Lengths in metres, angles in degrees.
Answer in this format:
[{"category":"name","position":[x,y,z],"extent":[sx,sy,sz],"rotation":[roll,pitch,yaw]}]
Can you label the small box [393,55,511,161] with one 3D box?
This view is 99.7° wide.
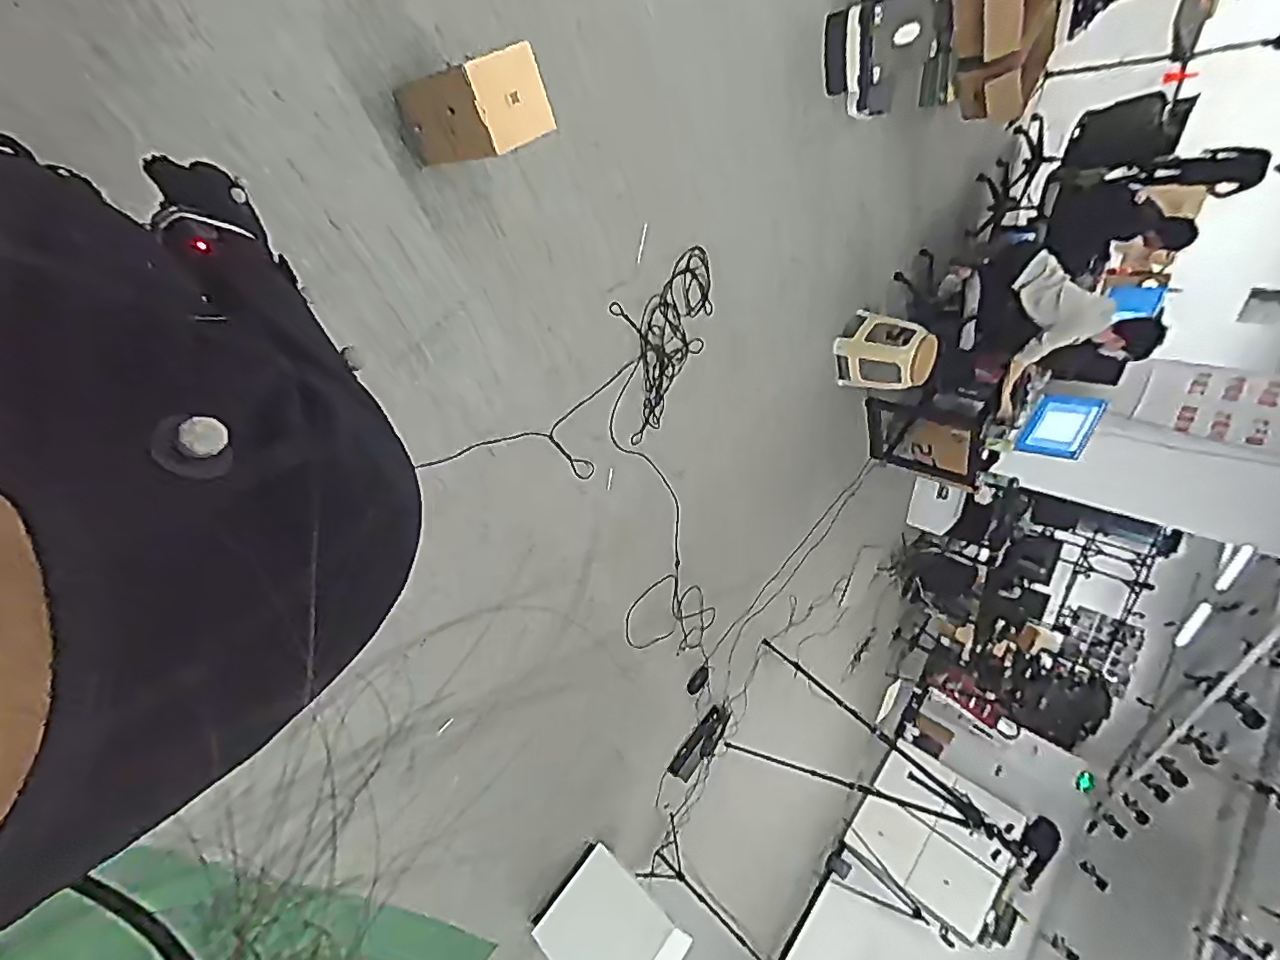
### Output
[{"category":"small box","position":[-0.449,-0.883,1.291],"extent":[0.179,0.176,0.168],"rotation":[-42,134,-25]}]
